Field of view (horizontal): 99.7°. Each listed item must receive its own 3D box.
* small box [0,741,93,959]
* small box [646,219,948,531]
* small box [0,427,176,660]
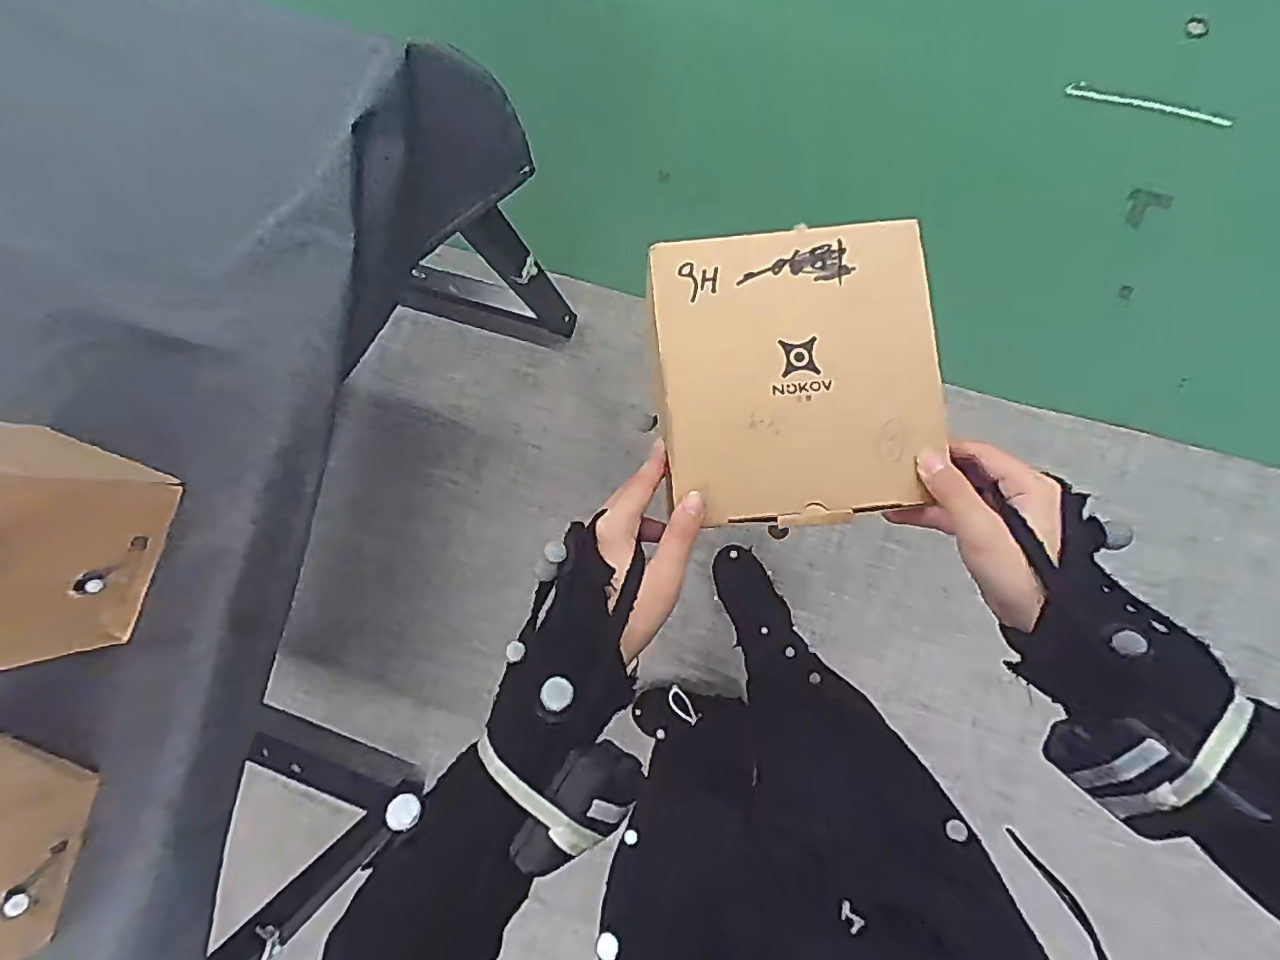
[{"bbox_3d":[-0.628,0.333,0.442,0.179,0.176,0.168,16,89,7],"label":"small box"},{"bbox_3d":[0.094,-0.060,0.399,0.168,0.176,0.179,-5,87,0],"label":"small box"},{"bbox_3d":[-0.559,0.048,0.450,0.179,0.176,0.168,19,89,8],"label":"small box"}]
